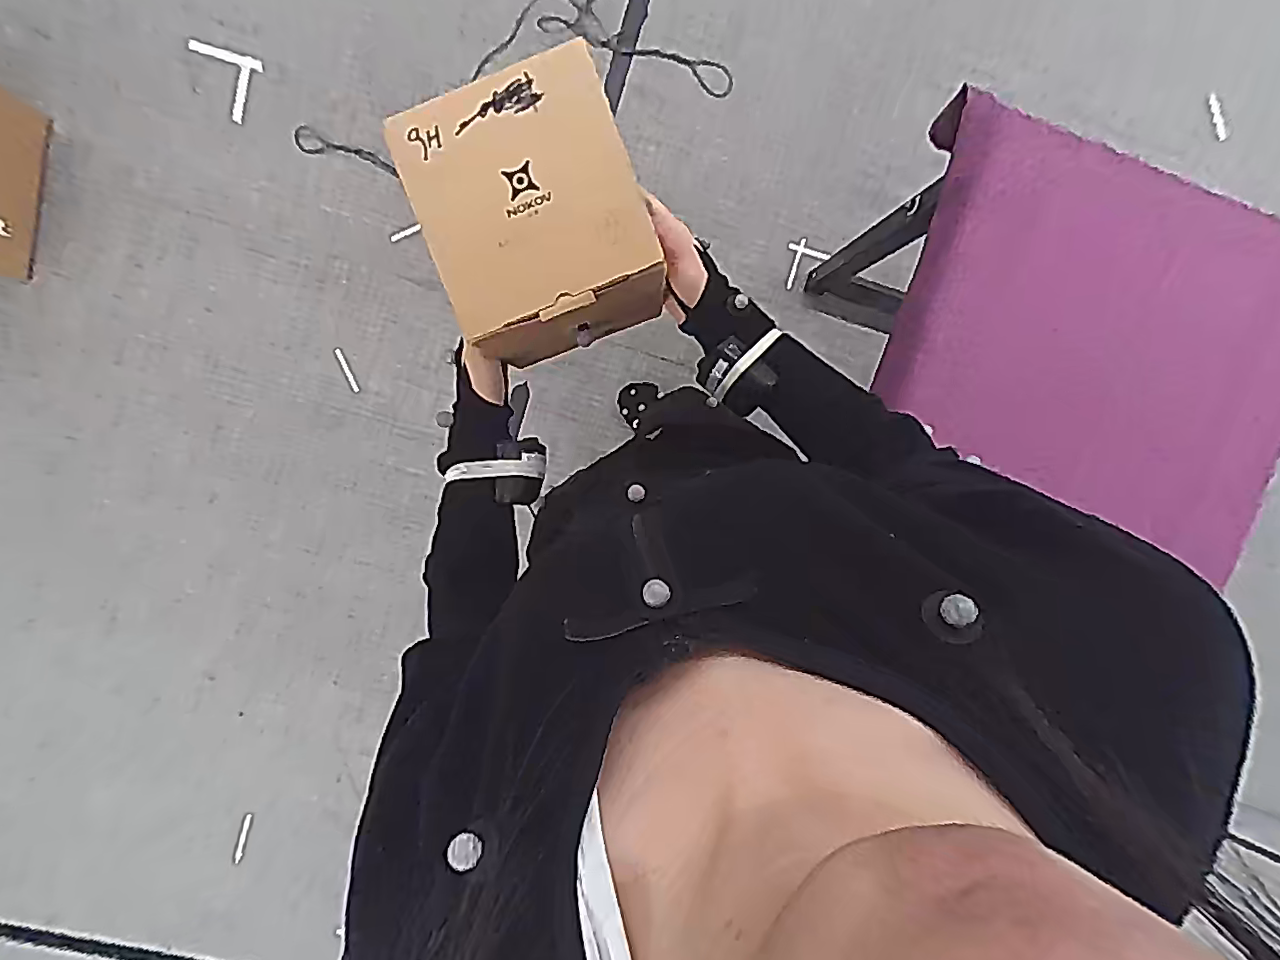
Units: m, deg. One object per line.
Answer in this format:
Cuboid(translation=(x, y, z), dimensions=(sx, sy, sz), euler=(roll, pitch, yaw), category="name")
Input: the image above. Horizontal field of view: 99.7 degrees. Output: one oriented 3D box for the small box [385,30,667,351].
Cuboid(translation=(-0.081, -0.224, 0.479), dimensions=(0.168, 0.176, 0.179), euler=(-21, 95, 3), category="small box")
